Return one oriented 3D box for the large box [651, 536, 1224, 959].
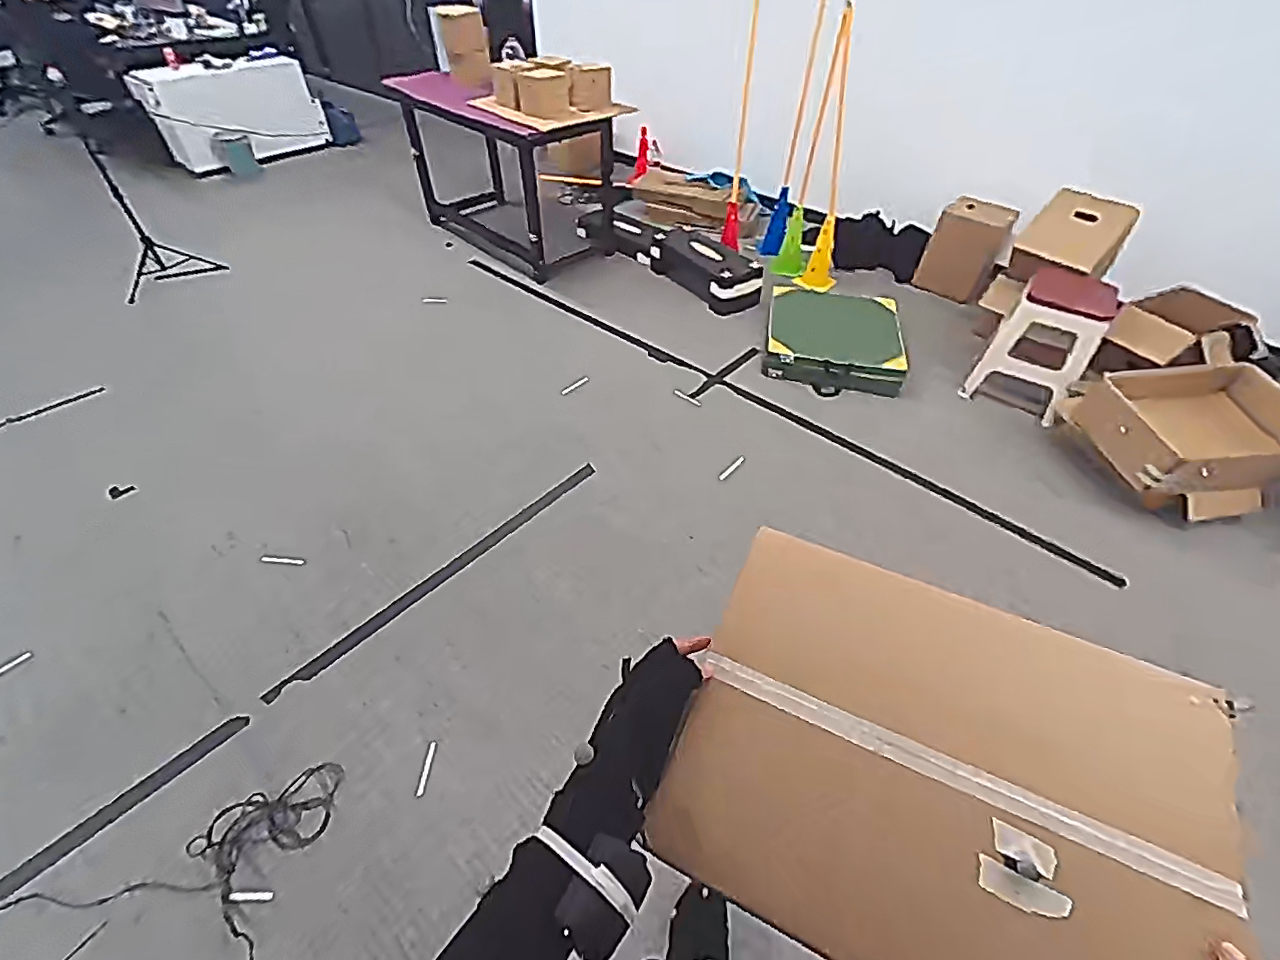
[{"bbox_3d":[0.259,0.318,0.582,0.408,0.320,0.320,20,62,18],"label":"large box"}]
